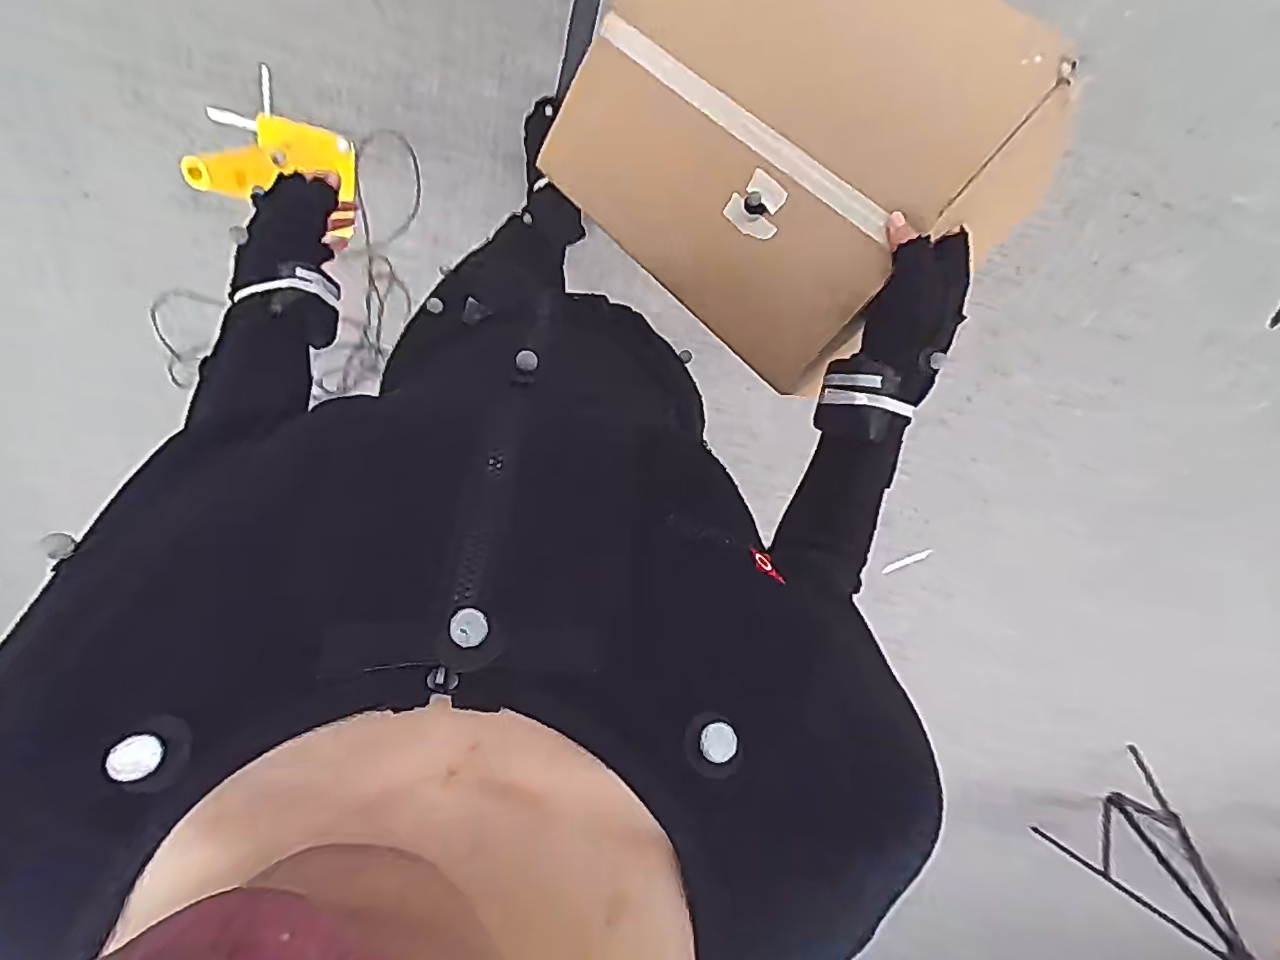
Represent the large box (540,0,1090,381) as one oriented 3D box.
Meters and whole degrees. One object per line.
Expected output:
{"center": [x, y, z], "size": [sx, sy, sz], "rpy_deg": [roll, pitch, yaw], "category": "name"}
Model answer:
{"center": [0.172, -0.358, 0.622], "size": [0.408, 0.320, 0.320], "rpy_deg": [47, 119, 16], "category": "large box"}
